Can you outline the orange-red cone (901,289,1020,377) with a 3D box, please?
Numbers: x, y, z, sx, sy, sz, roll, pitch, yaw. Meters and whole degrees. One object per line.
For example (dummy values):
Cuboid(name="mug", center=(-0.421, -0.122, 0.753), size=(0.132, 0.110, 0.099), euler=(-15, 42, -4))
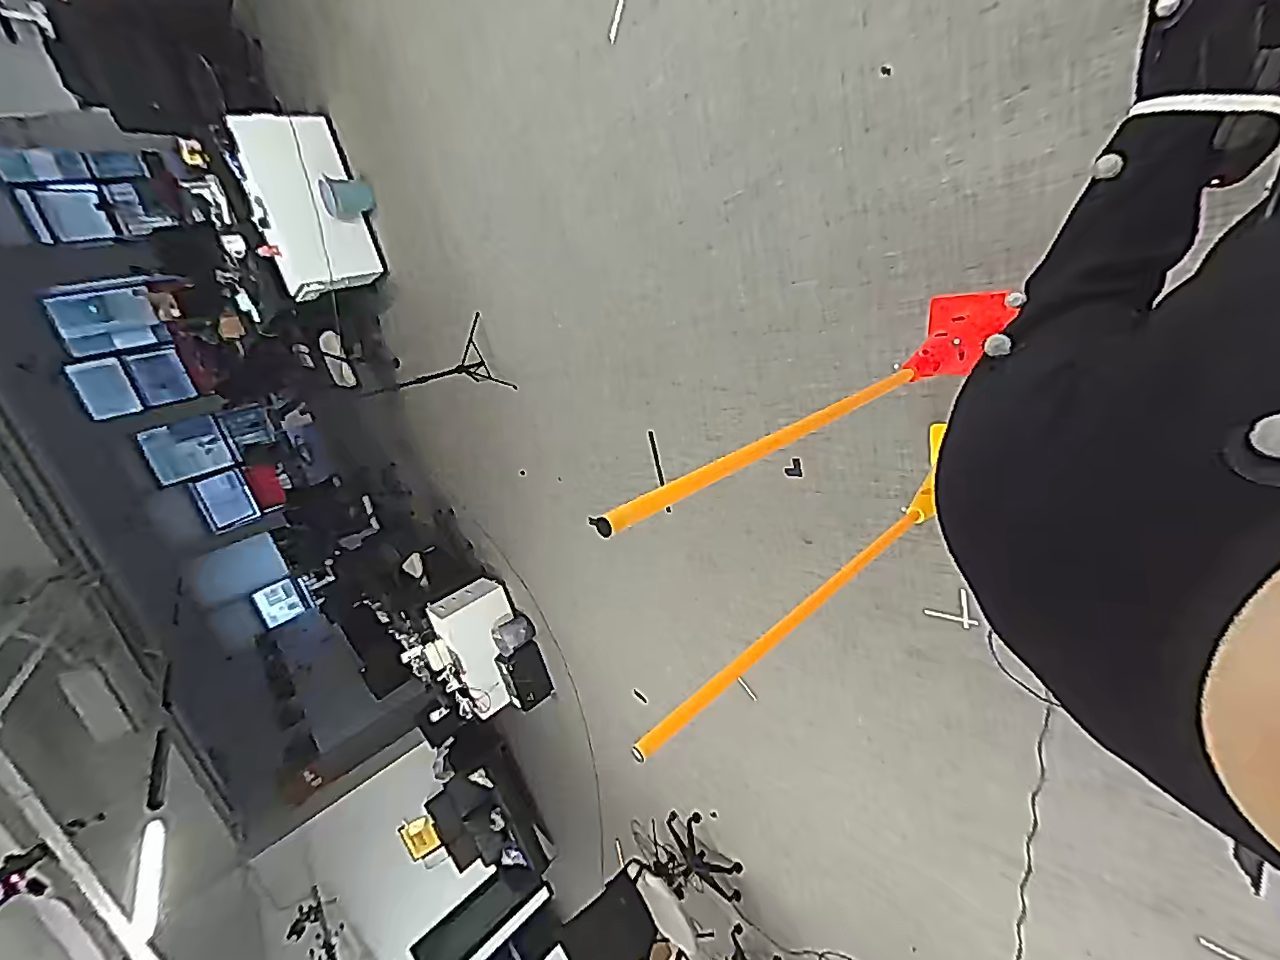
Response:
Cuboid(name="orange-red cone", center=(0.681, -0.297, 1.216), size=(0.198, 0.360, 0.199), euler=(15, 123, 45))
